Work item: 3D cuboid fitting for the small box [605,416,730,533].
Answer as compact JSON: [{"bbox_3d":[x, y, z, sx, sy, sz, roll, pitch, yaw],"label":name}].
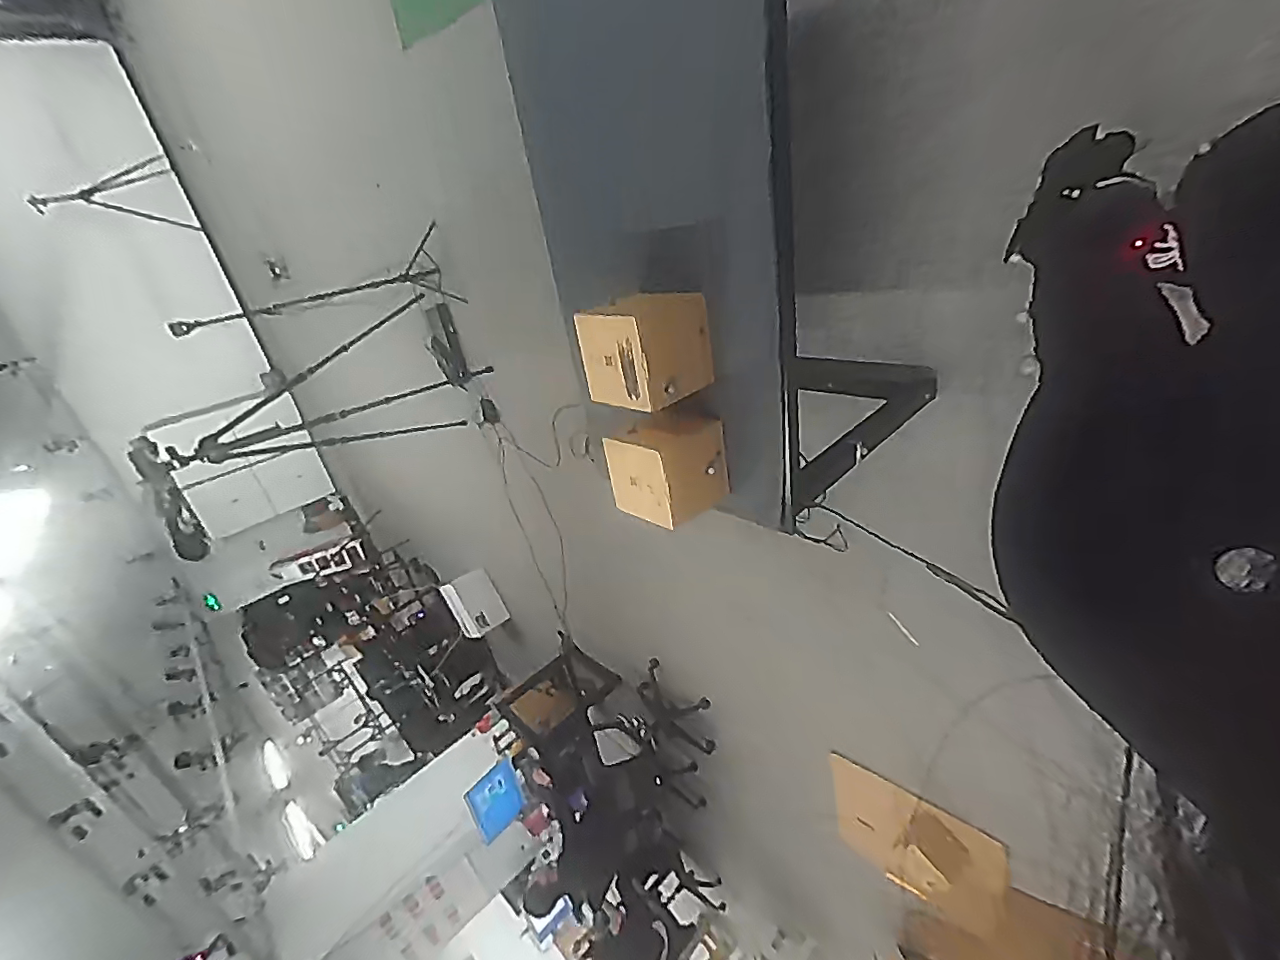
[{"bbox_3d":[0.058,-0.021,1.090,0.179,0.176,0.168,17,127,46],"label":"small box"}]
